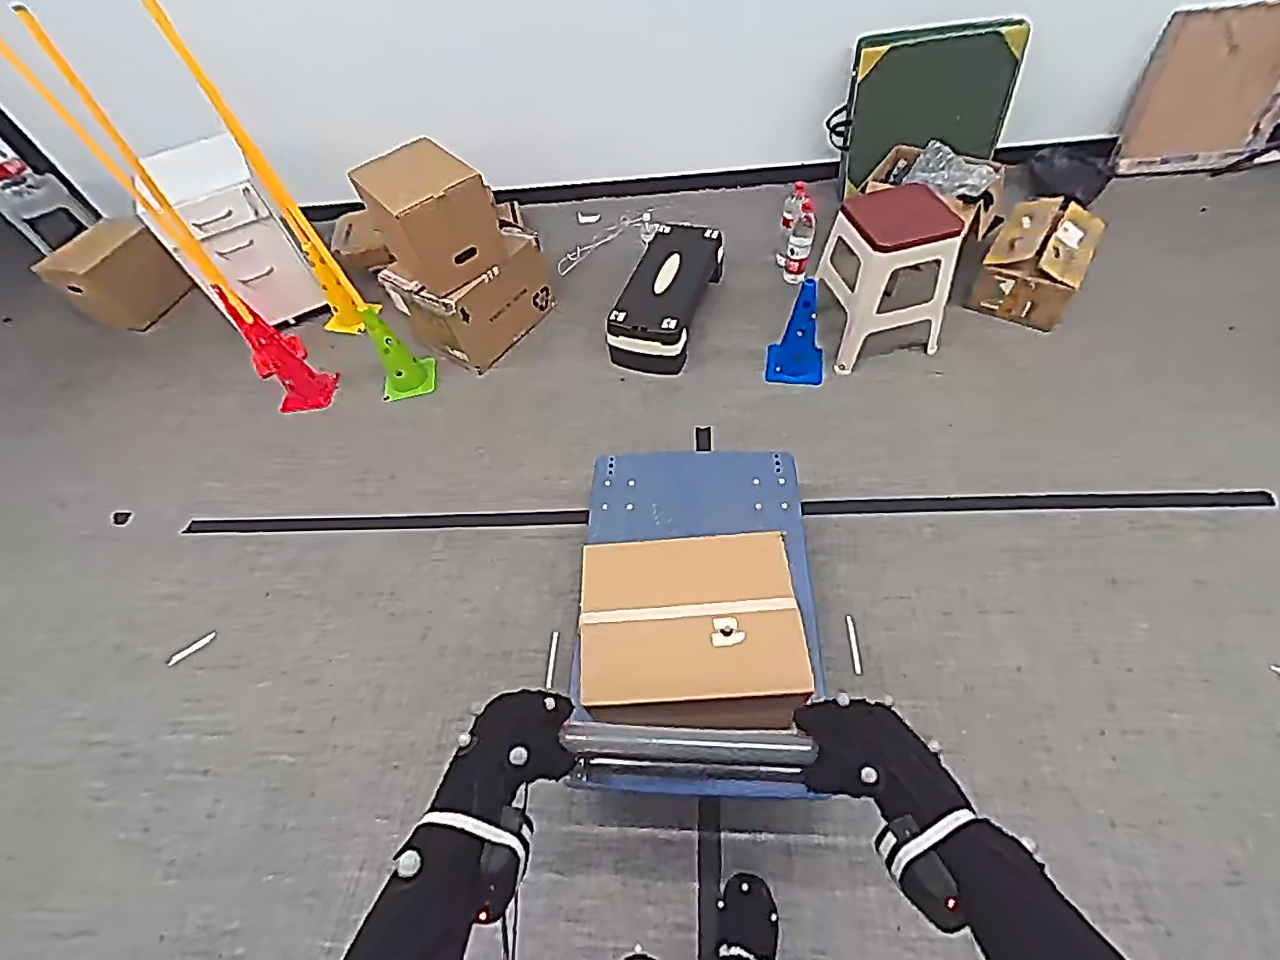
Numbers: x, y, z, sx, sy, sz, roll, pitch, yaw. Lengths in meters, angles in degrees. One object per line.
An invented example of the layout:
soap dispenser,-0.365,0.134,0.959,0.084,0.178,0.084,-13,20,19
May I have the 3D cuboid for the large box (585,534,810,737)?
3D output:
large box,0.101,0.338,1.149,0.408,0.320,0.320,-5,55,2
